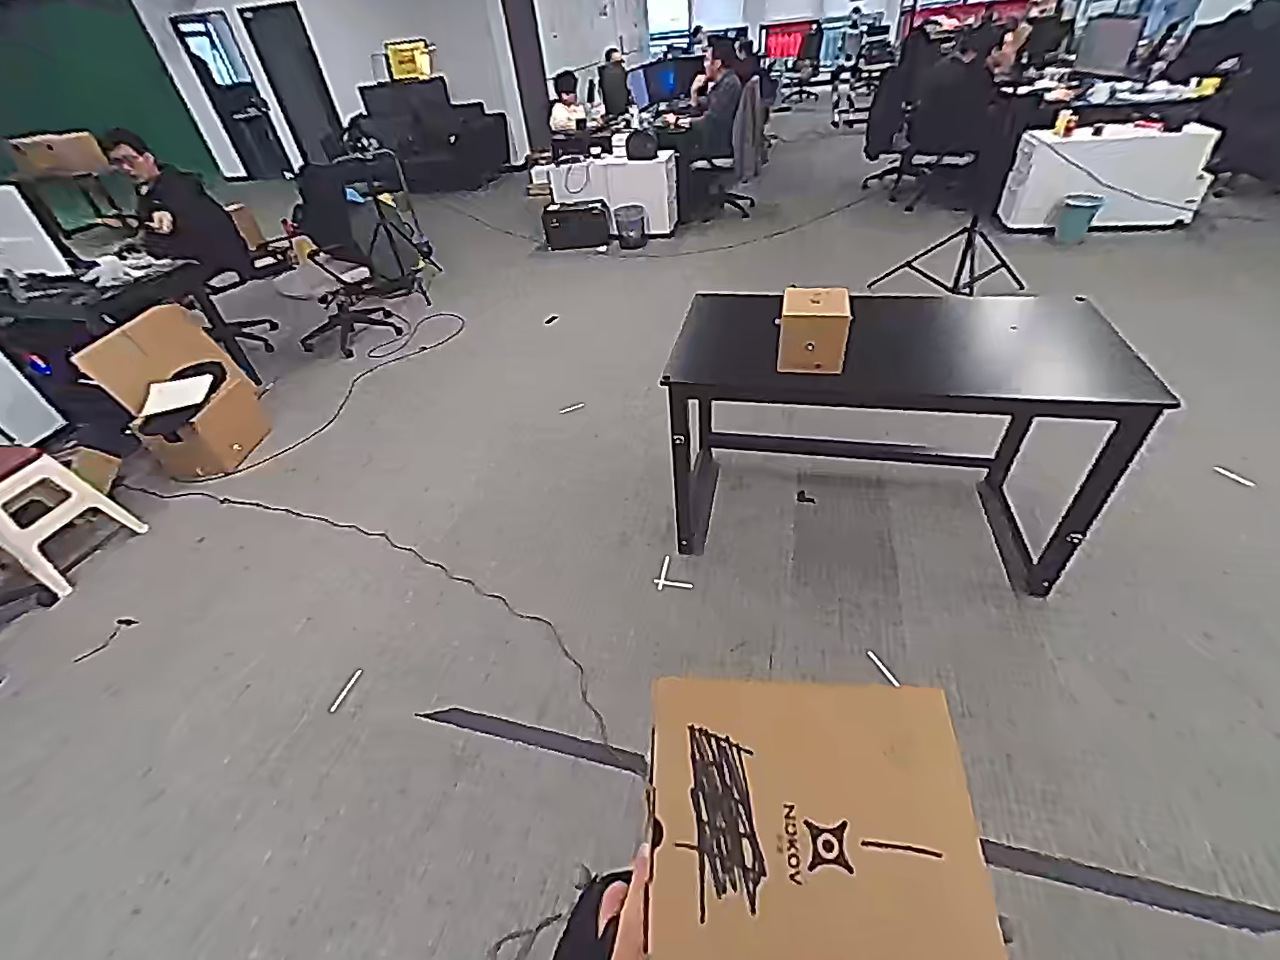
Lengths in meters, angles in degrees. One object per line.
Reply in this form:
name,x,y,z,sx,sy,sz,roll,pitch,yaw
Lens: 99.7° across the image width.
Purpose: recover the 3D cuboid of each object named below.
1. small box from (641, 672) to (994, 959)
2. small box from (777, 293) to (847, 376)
small box,0.097,0.238,0.368,0.179,0.176,0.168,0,57,5
small box,0.469,-0.399,1.482,0.168,0.176,0.179,5,41,13
